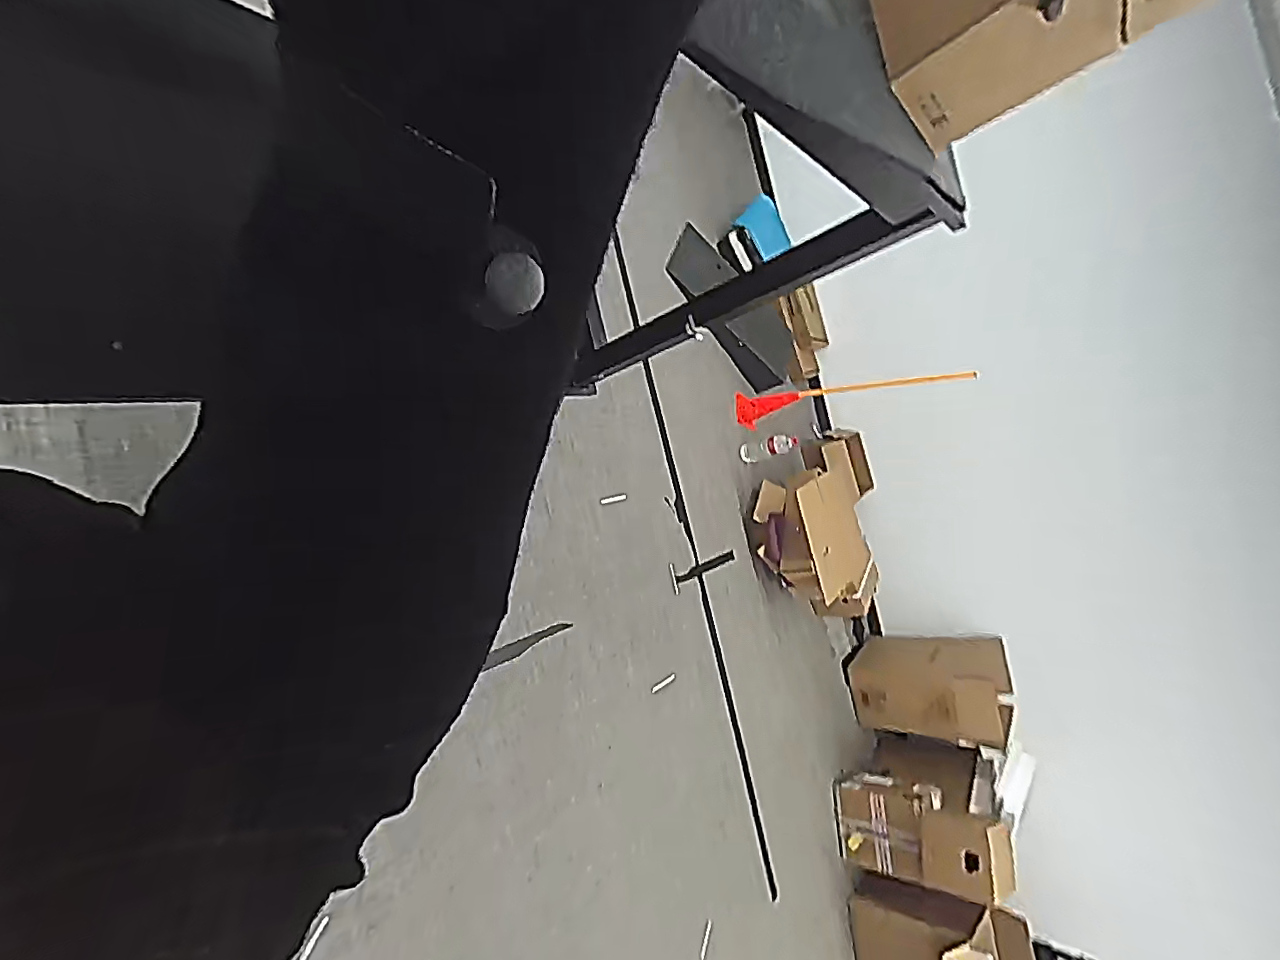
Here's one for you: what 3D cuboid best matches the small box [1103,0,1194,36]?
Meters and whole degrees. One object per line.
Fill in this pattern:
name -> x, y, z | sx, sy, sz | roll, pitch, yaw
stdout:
small box -> 0.438, -0.503, 0.400 | 0.168, 0.176, 0.179 | -6, 83, -48
